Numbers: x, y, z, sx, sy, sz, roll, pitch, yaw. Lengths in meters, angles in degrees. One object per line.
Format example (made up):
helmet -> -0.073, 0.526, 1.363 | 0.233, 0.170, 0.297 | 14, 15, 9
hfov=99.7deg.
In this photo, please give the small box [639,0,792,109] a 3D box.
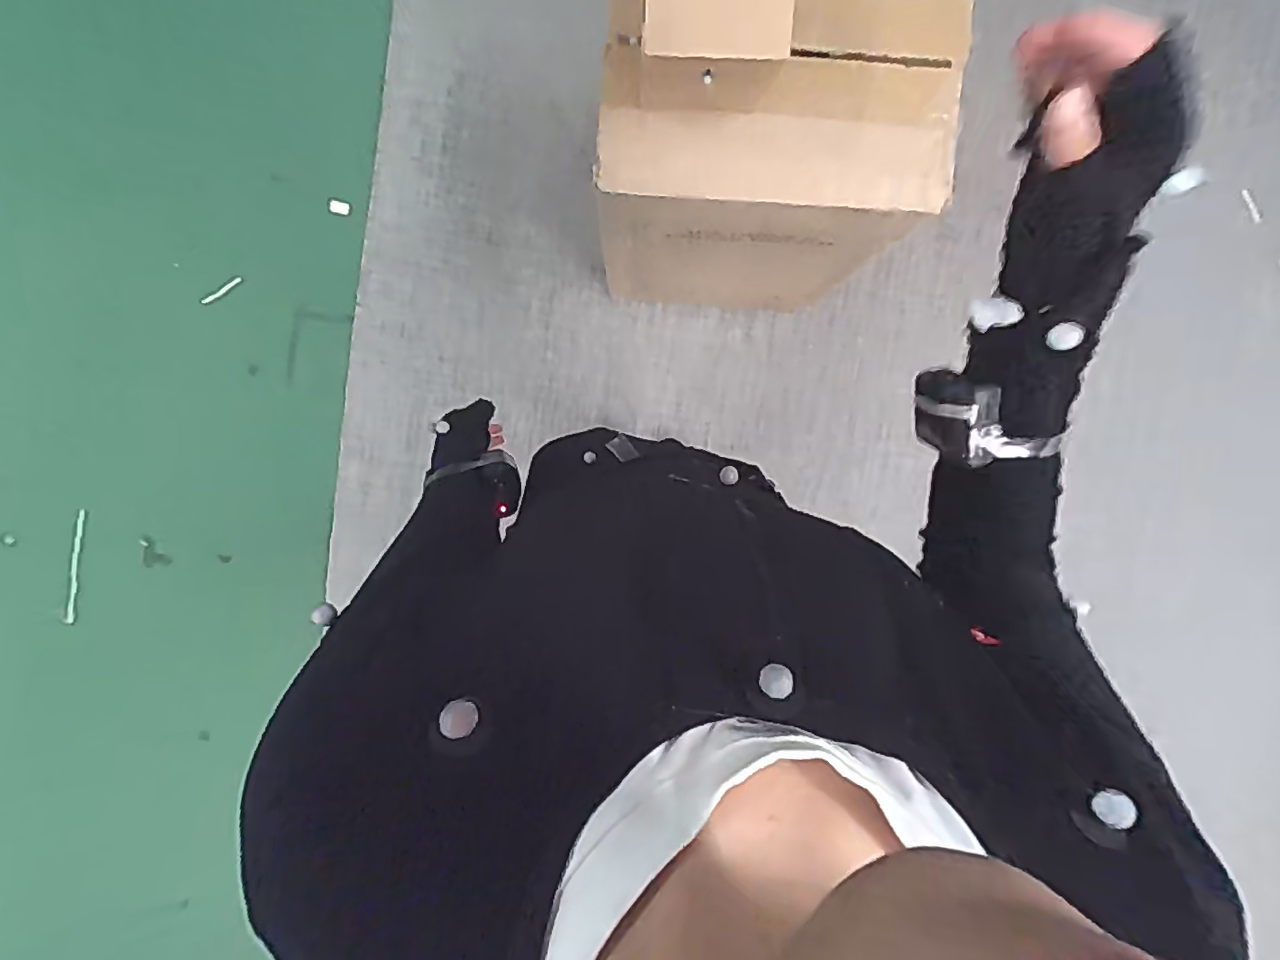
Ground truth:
small box -> 0.088, -0.599, 0.692 | 0.179, 0.176, 0.168 | 0, 106, -2
